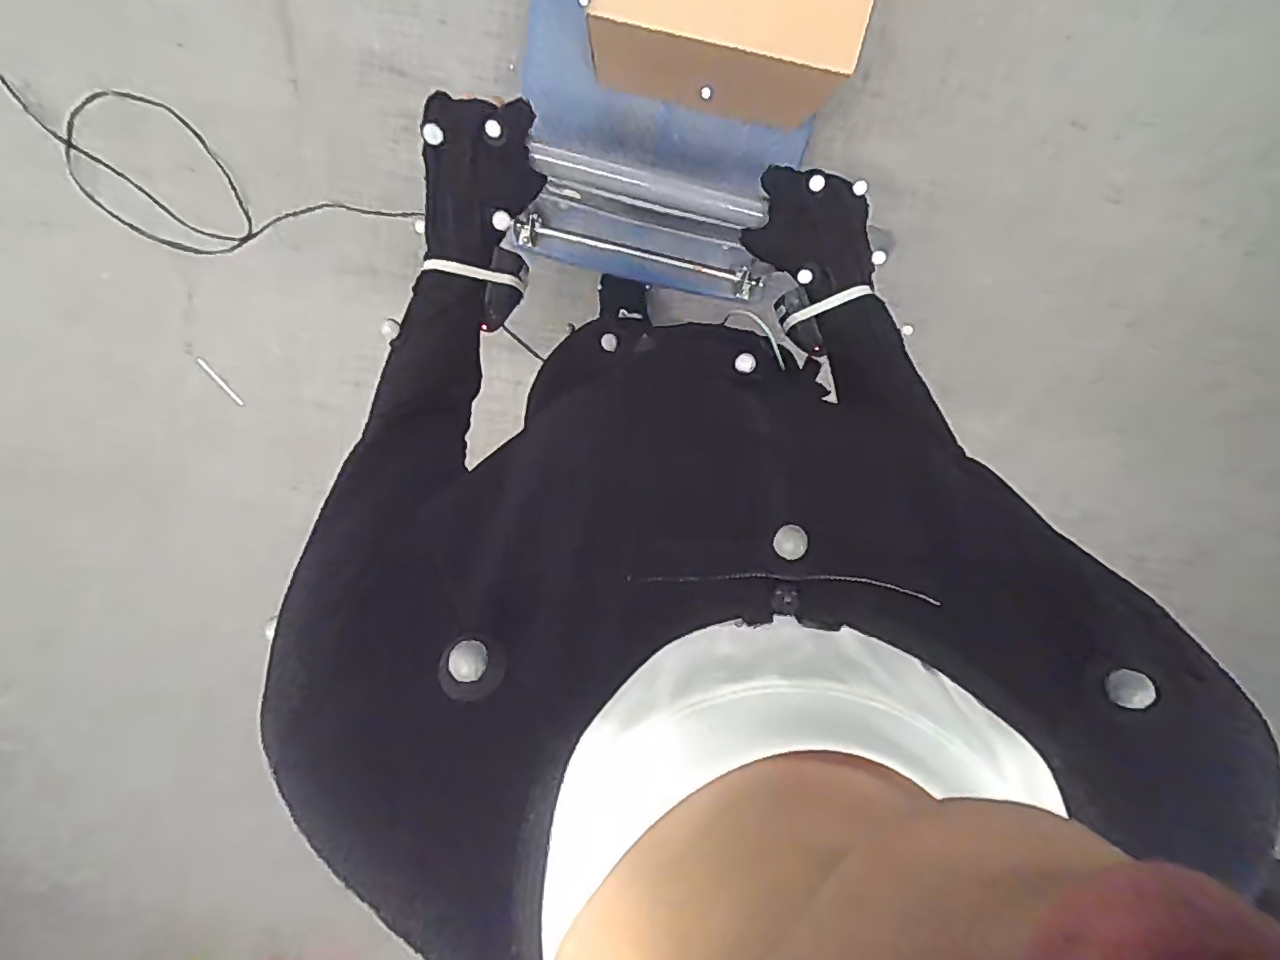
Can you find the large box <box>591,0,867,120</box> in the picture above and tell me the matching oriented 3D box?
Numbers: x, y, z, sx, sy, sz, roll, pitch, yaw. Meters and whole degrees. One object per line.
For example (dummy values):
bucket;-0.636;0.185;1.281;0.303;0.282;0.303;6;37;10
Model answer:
large box;0.148;-0.840;0.894;0.408;0.320;0.320;9;109;-3
